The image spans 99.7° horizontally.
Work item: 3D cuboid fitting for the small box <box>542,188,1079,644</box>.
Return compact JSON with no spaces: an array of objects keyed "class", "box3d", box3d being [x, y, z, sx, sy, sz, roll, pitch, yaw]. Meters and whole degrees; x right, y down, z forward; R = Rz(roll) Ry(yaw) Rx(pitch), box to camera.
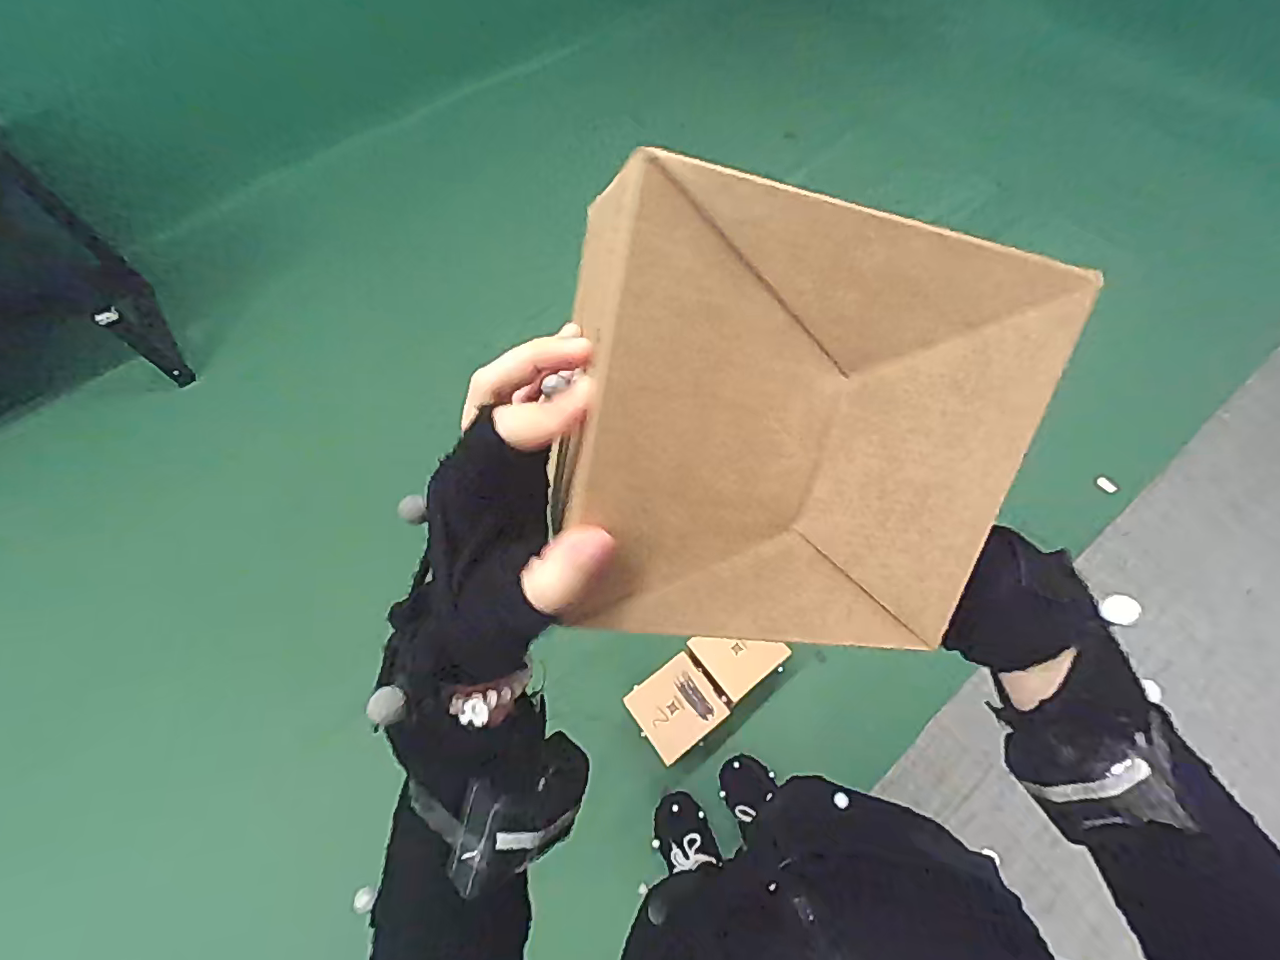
[{"class":"small box","box3d":[0.055,-0.034,0.274,0.179,0.168,0.176,6,22,-18]}]
